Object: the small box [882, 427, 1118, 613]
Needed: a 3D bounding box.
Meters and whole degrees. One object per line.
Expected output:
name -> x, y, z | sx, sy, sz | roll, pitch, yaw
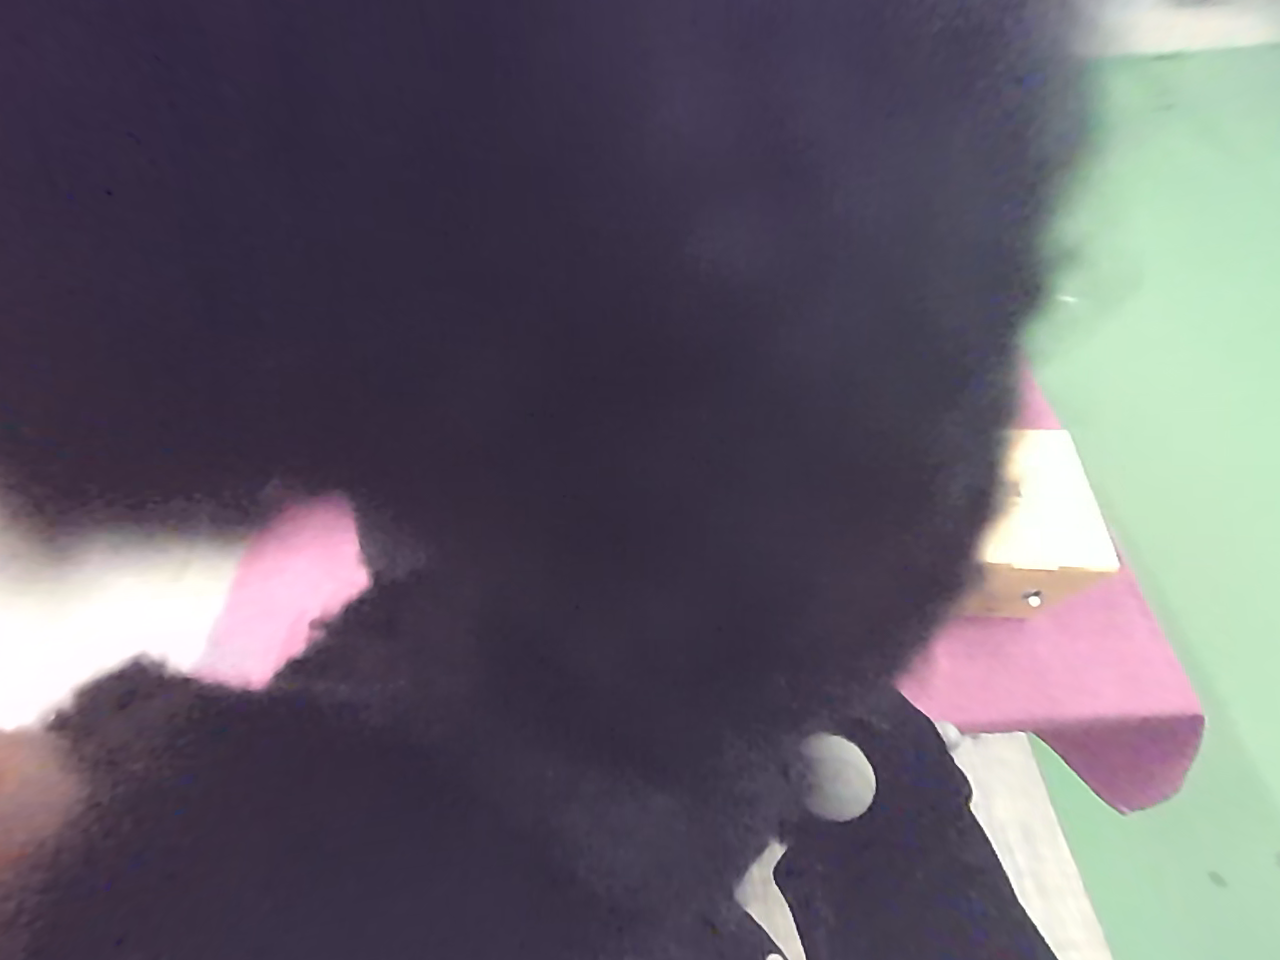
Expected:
small box -> 0.415, 0.055, 0.662 | 0.168, 0.176, 0.179 | 2, 59, 5
